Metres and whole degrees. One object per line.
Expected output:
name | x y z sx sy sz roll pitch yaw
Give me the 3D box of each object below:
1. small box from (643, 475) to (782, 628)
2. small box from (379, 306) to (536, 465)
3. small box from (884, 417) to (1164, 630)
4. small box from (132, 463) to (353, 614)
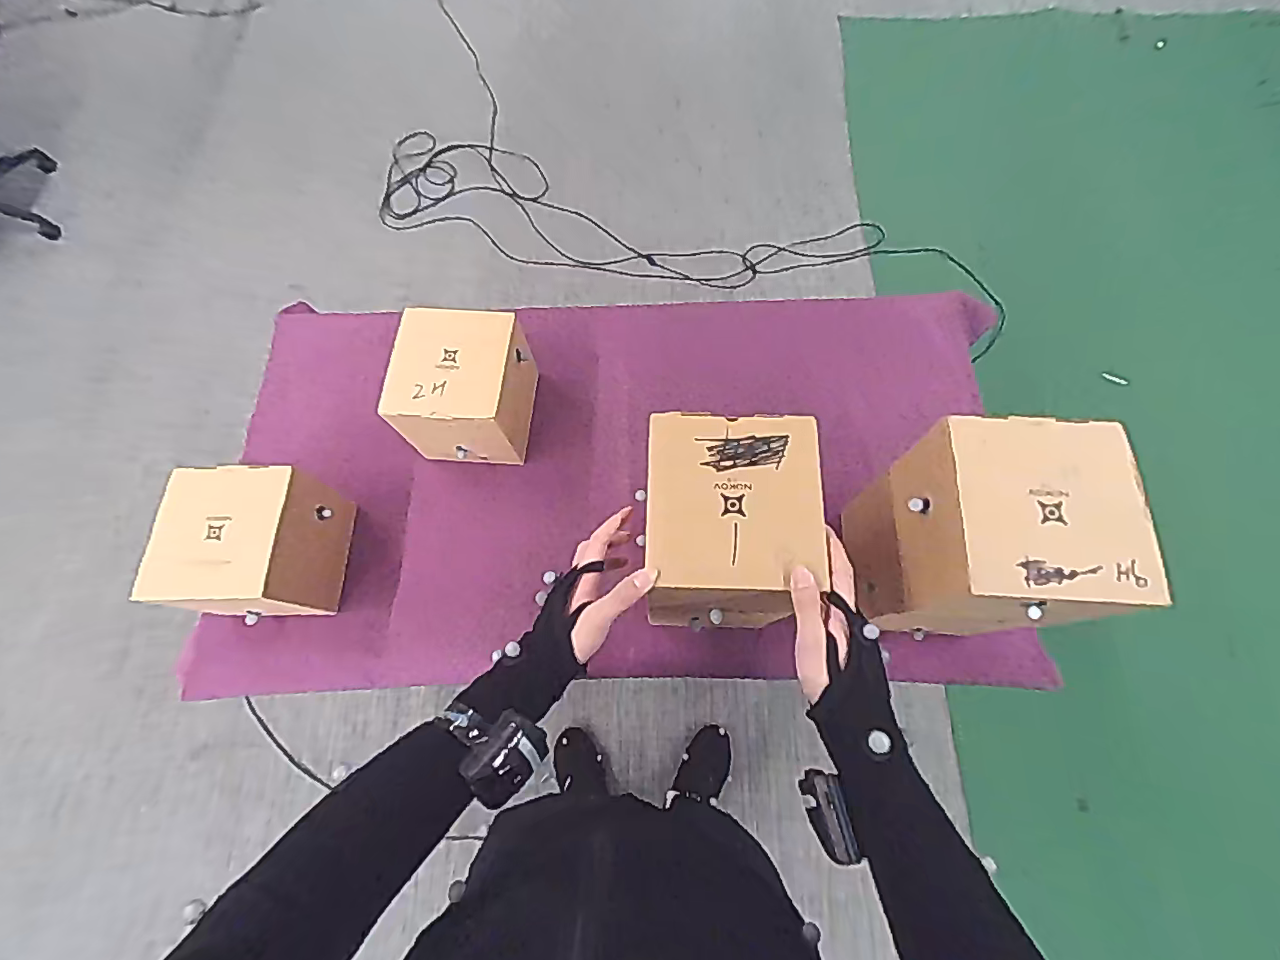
small box | 0.093 0.104 0.735 0.168 0.176 0.179 1 69 3
small box | -0.265 -0.139 0.833 0.168 0.176 0.179 4 71 4
small box | 0.370 0.053 0.565 0.168 0.176 0.179 3 69 4
small box | -0.534 0.088 0.758 0.168 0.176 0.179 -1 69 2
